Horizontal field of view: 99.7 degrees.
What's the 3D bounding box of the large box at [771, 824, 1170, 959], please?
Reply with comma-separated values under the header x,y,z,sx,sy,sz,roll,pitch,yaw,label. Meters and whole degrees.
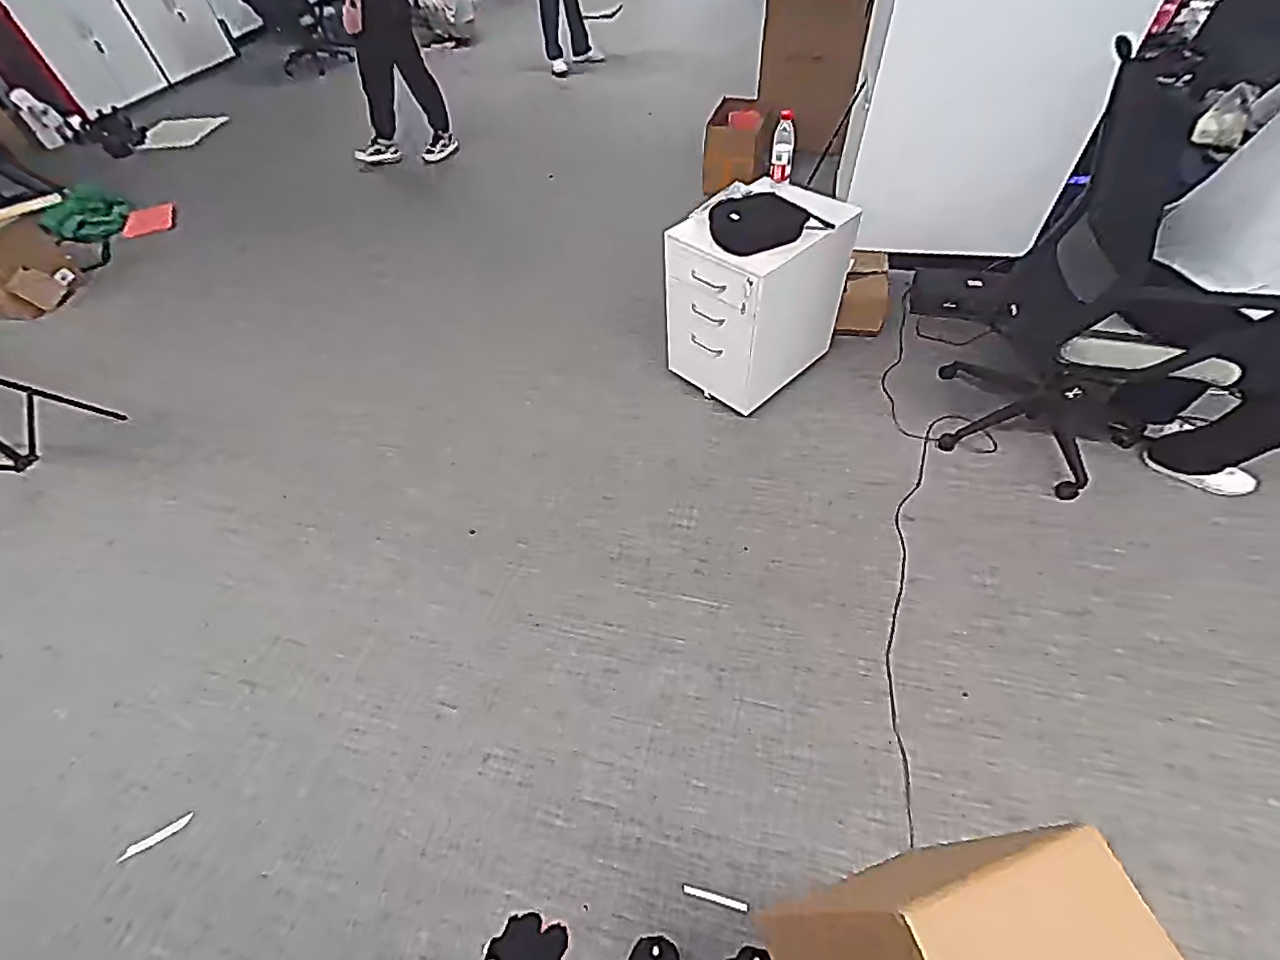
x,y,z,sx,sy,sz,roll,pitch,yaw,label
0.431,0.691,0.697,0.320,0.408,0.320,-7,53,-18,large box
